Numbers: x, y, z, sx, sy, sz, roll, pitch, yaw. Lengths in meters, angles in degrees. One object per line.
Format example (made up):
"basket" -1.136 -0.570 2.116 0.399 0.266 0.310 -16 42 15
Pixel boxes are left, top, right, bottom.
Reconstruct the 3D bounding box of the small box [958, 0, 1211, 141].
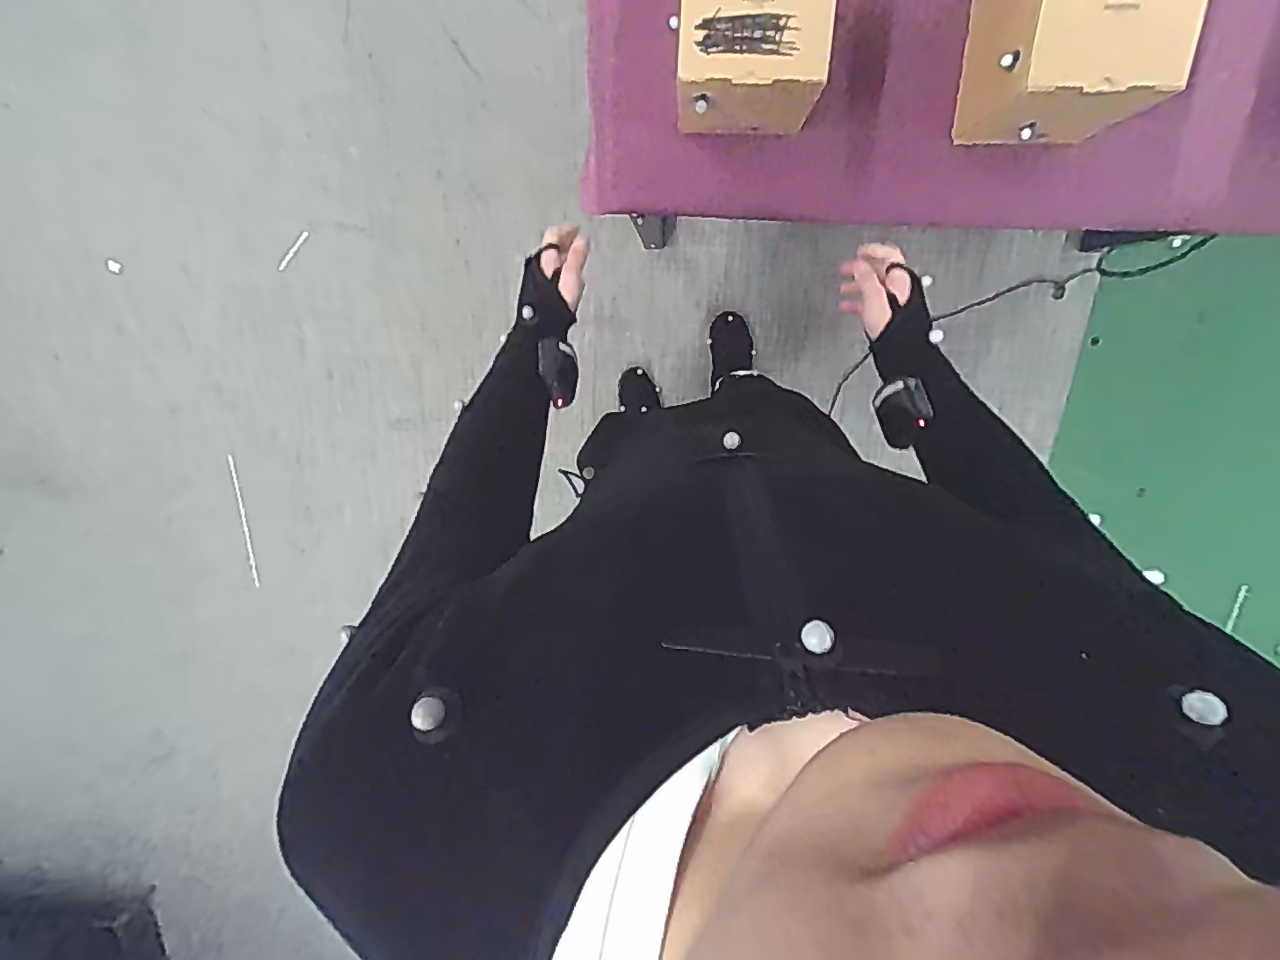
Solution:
"small box" 0.501 -0.520 0.626 0.168 0.176 0.179 2 106 4
